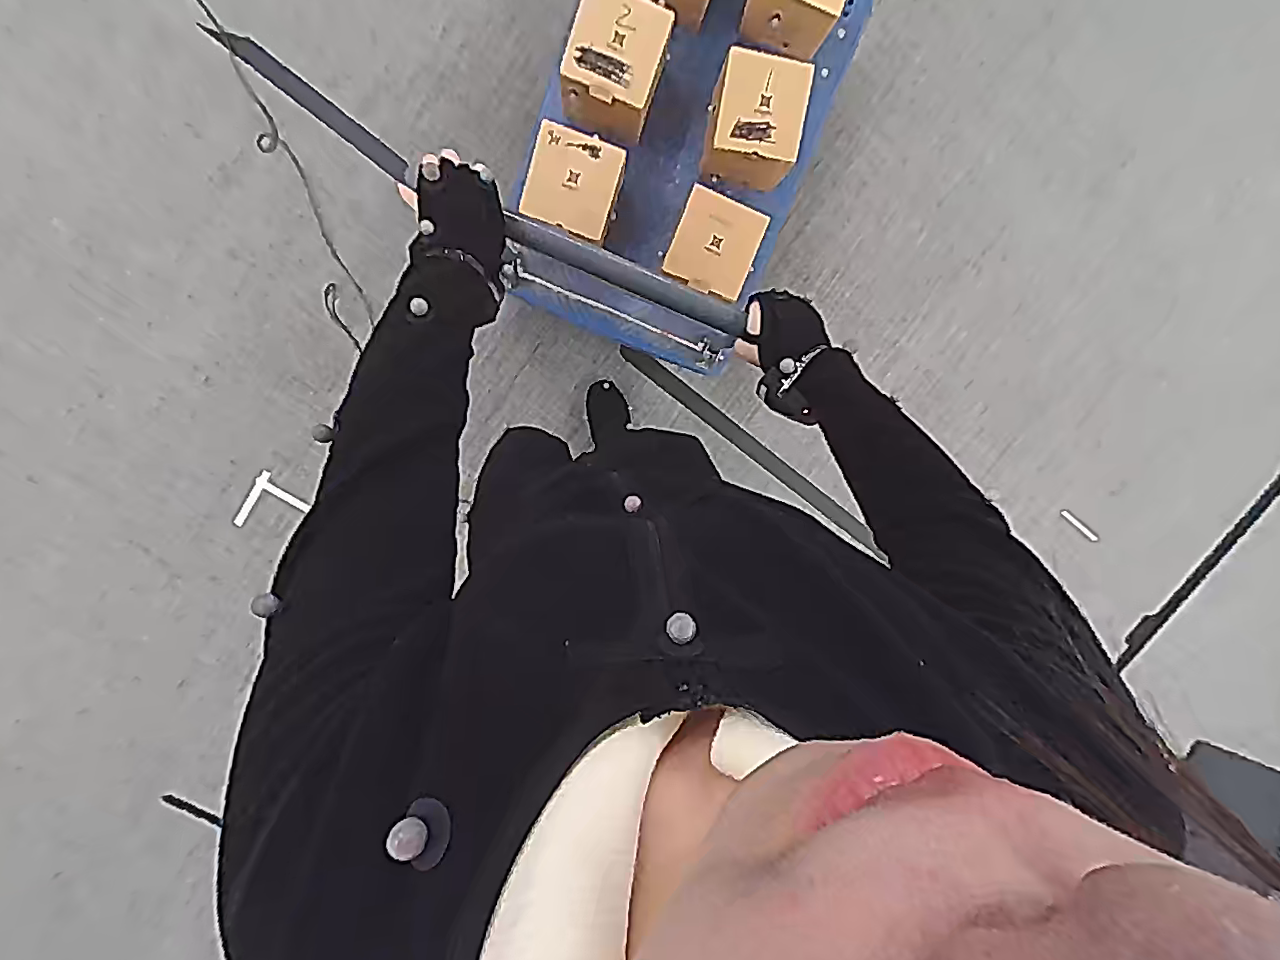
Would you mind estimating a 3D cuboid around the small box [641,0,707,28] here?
[{"bbox_3d":[0.081,-1.029,1.024,0.168,0.176,0.179,23,100,-9],"label":"small box"}]

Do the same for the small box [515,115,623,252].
[{"bbox_3d":[-0.140,-0.587,1.100,0.168,0.176,0.179,17,100,-9],"label":"small box"}]

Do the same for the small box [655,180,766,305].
[{"bbox_3d":[0.138,-0.487,1.144,0.168,0.176,0.179,21,99,-9],"label":"small box"}]

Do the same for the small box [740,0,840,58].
[{"bbox_3d":[0.309,-0.981,1.054,0.168,0.176,0.179,18,100,-8],"label":"small box"}]

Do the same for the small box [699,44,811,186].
[{"bbox_3d":[0.223,-0.726,1.099,0.168,0.176,0.179,9,100,-6],"label":"small box"}]
